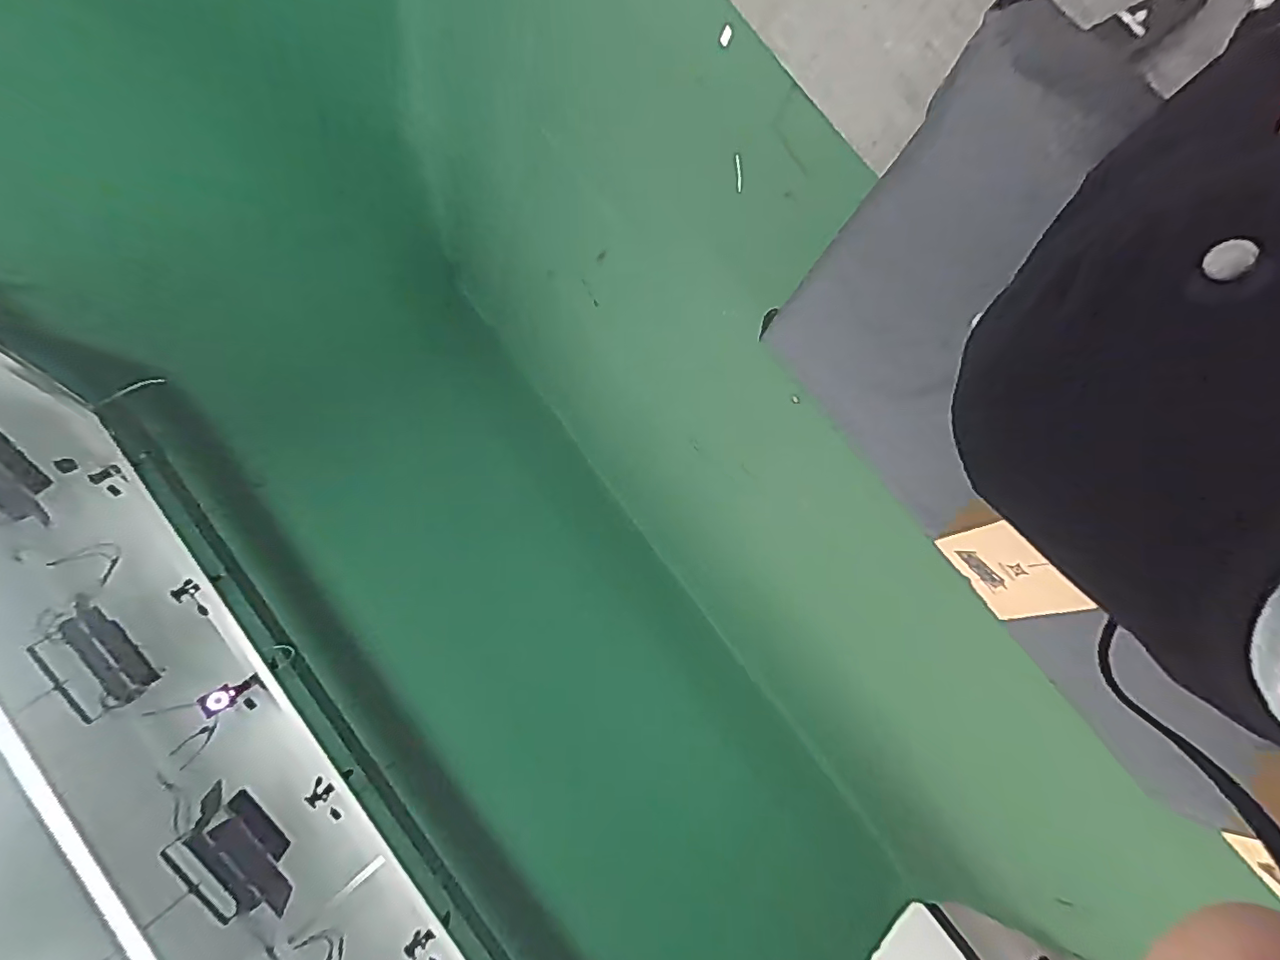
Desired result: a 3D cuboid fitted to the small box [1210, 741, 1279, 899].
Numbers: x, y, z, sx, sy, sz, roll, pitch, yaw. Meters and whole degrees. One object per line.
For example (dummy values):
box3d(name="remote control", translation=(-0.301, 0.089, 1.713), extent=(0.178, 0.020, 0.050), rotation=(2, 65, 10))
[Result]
box3d(name="small box", translation=(0.976, 0.491, 0.753), extent=(0.168, 0.176, 0.179), rotation=(50, 155, 7))

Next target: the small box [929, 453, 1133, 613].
box3d(name="small box", translation=(0.616, 0.087, 0.858), extent=(0.168, 0.176, 0.179), rotation=(51, 154, 5))
